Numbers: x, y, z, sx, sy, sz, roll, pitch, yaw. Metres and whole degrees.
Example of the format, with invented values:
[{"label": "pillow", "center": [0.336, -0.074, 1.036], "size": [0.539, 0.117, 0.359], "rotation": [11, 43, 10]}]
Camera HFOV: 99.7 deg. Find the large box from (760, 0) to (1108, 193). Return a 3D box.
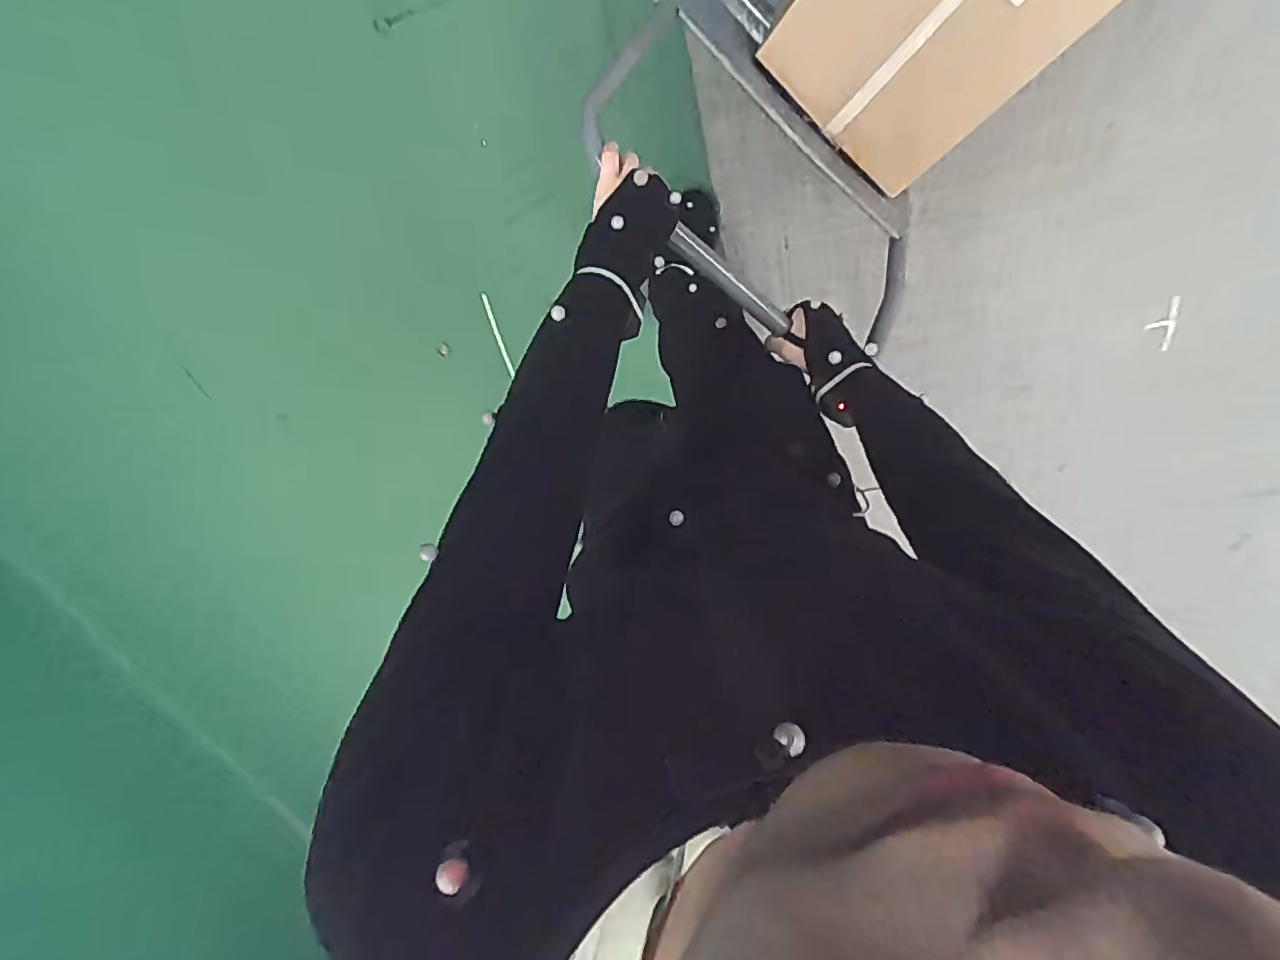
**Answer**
[{"label": "large box", "center": [0.442, -0.745, 0.802], "size": [0.320, 0.320, 0.408], "rotation": [34, 140, -18]}]
